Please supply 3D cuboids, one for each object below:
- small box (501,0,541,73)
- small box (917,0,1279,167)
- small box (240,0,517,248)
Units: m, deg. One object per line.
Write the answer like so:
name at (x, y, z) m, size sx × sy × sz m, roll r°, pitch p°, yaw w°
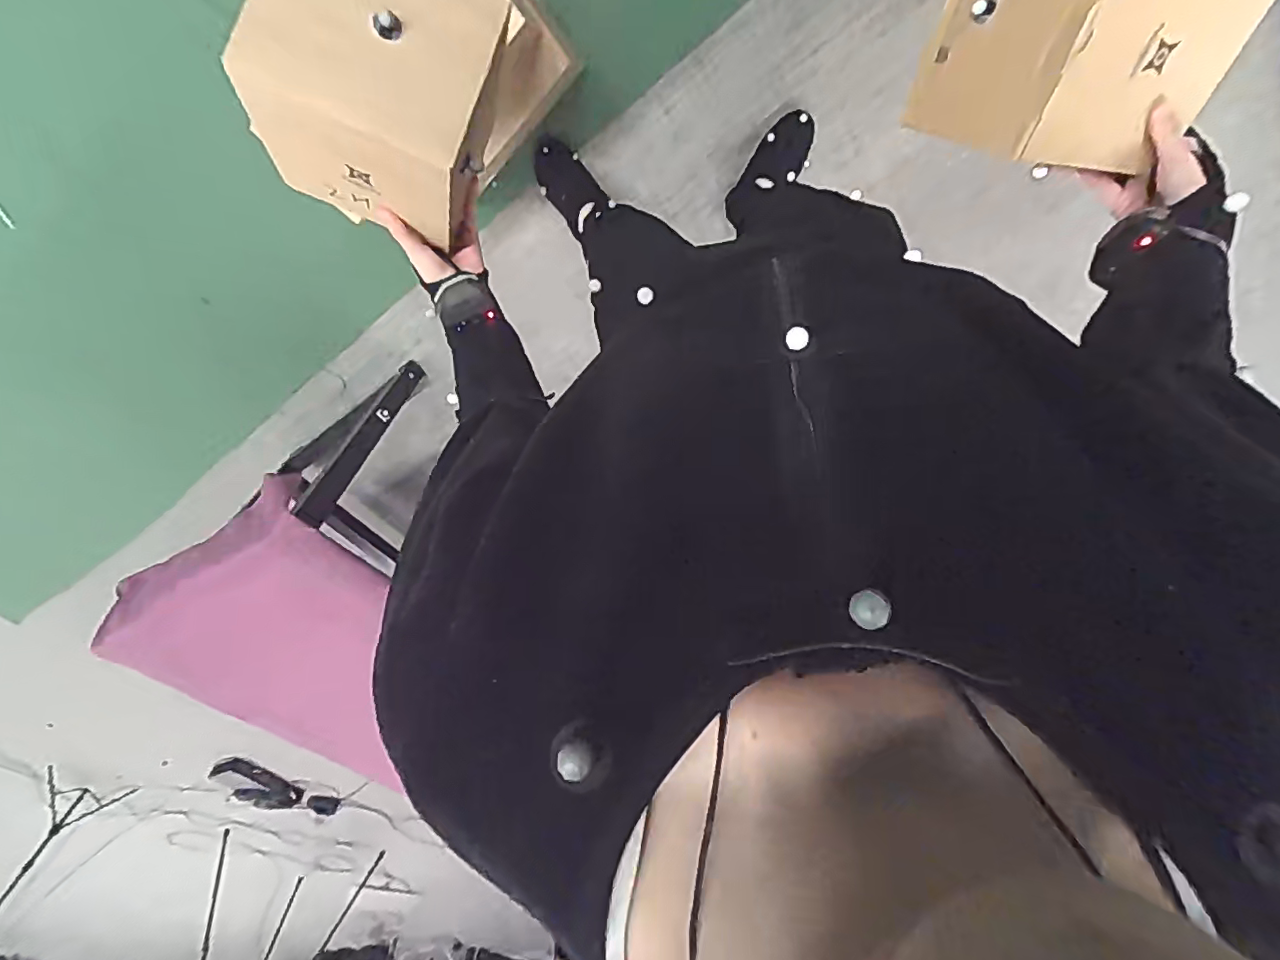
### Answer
small box at (-0.261, -0.652, 0.770) m, size 0.179 × 0.176 × 0.168 m, roll -35°, pitch 120°, yaw 24°
small box at (0.399, -0.400, 0.484) m, size 0.179 × 0.176 × 0.168 m, roll -4°, pitch 133°, yaw -16°
small box at (-0.223, -0.359, 0.501) m, size 0.168 × 0.179 × 0.176 m, roll 20°, pitch 83°, yaw -19°
